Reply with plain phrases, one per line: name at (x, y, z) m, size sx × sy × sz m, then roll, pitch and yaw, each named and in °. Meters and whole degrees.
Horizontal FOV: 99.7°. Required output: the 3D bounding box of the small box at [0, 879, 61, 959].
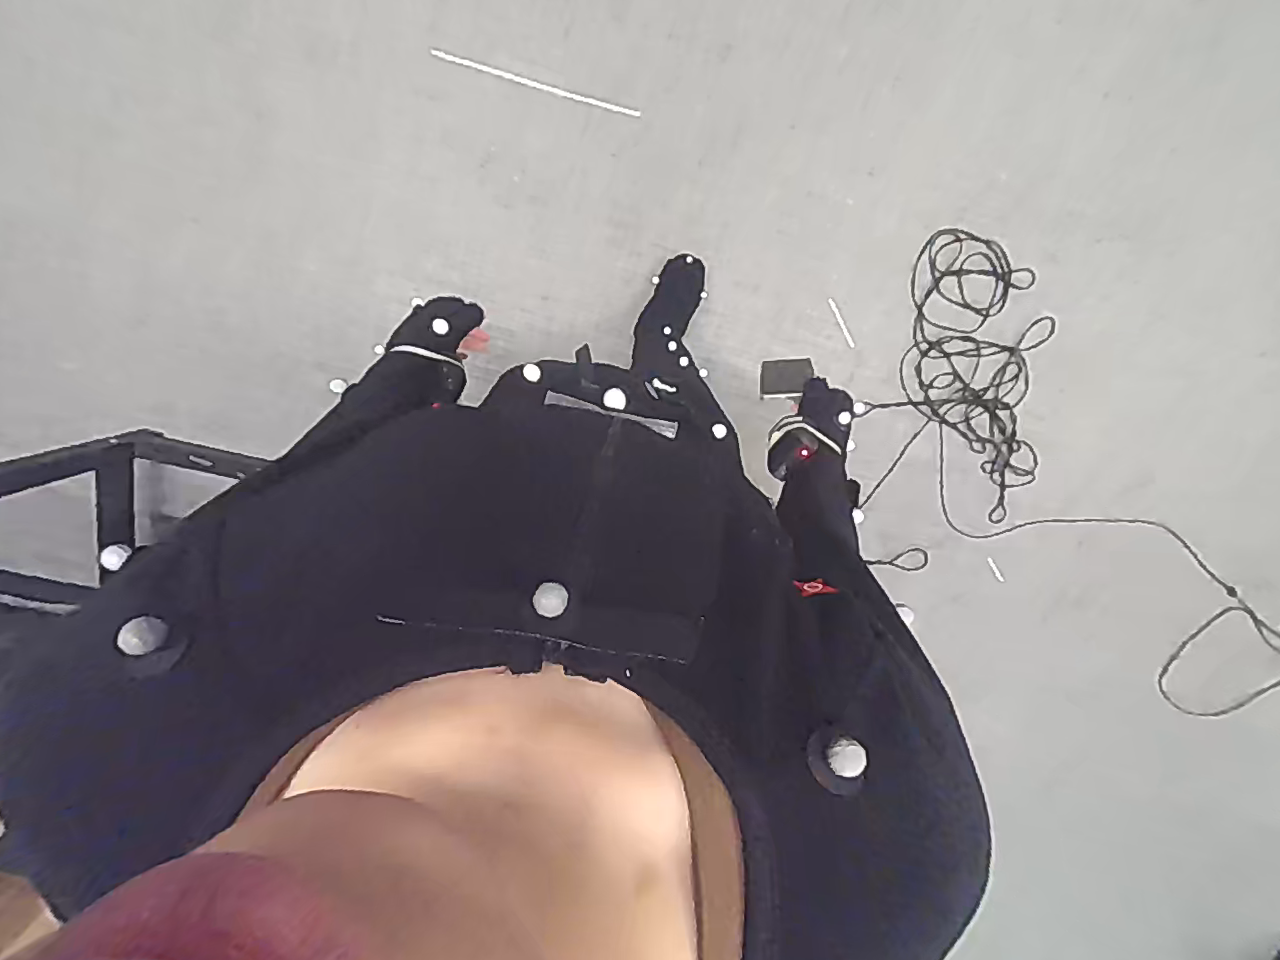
small box at (-1.080, 0.774, 0.853) m, size 0.168 × 0.176 × 0.179 m, roll 16°, pitch 106°, yaw -7°
